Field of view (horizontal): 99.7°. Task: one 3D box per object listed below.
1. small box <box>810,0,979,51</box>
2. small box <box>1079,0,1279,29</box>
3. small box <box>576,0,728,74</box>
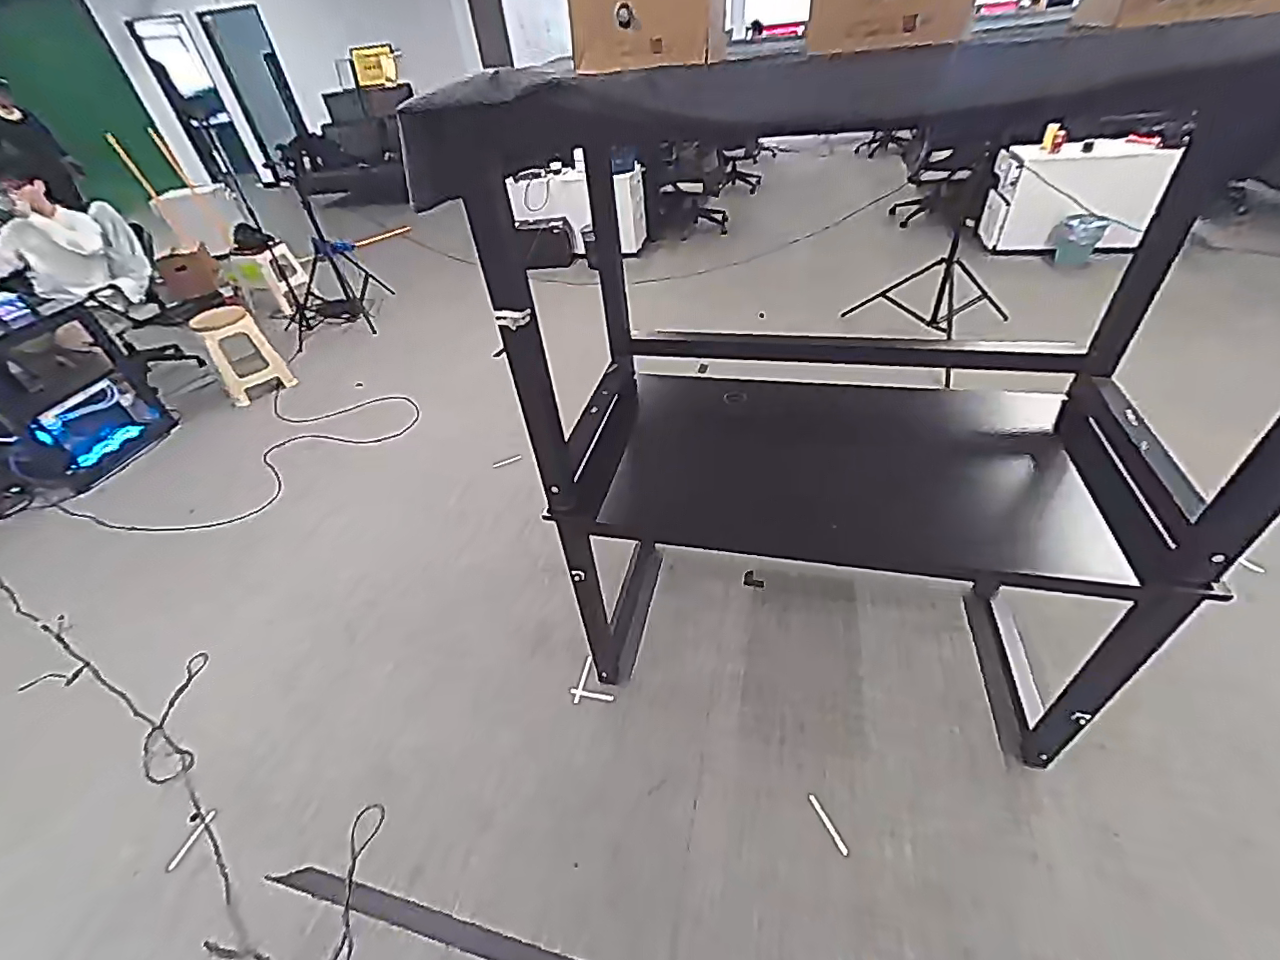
[{"bbox_3d":[0.282,-0.582,0.592,0.168,0.176,0.179,6,40,15],"label":"small box"},{"bbox_3d":[0.572,-0.556,0.523,0.168,0.176,0.179,8,41,18],"label":"small box"},{"bbox_3d":[0.018,-0.606,0.659,0.168,0.176,0.179,6,41,13],"label":"small box"}]
